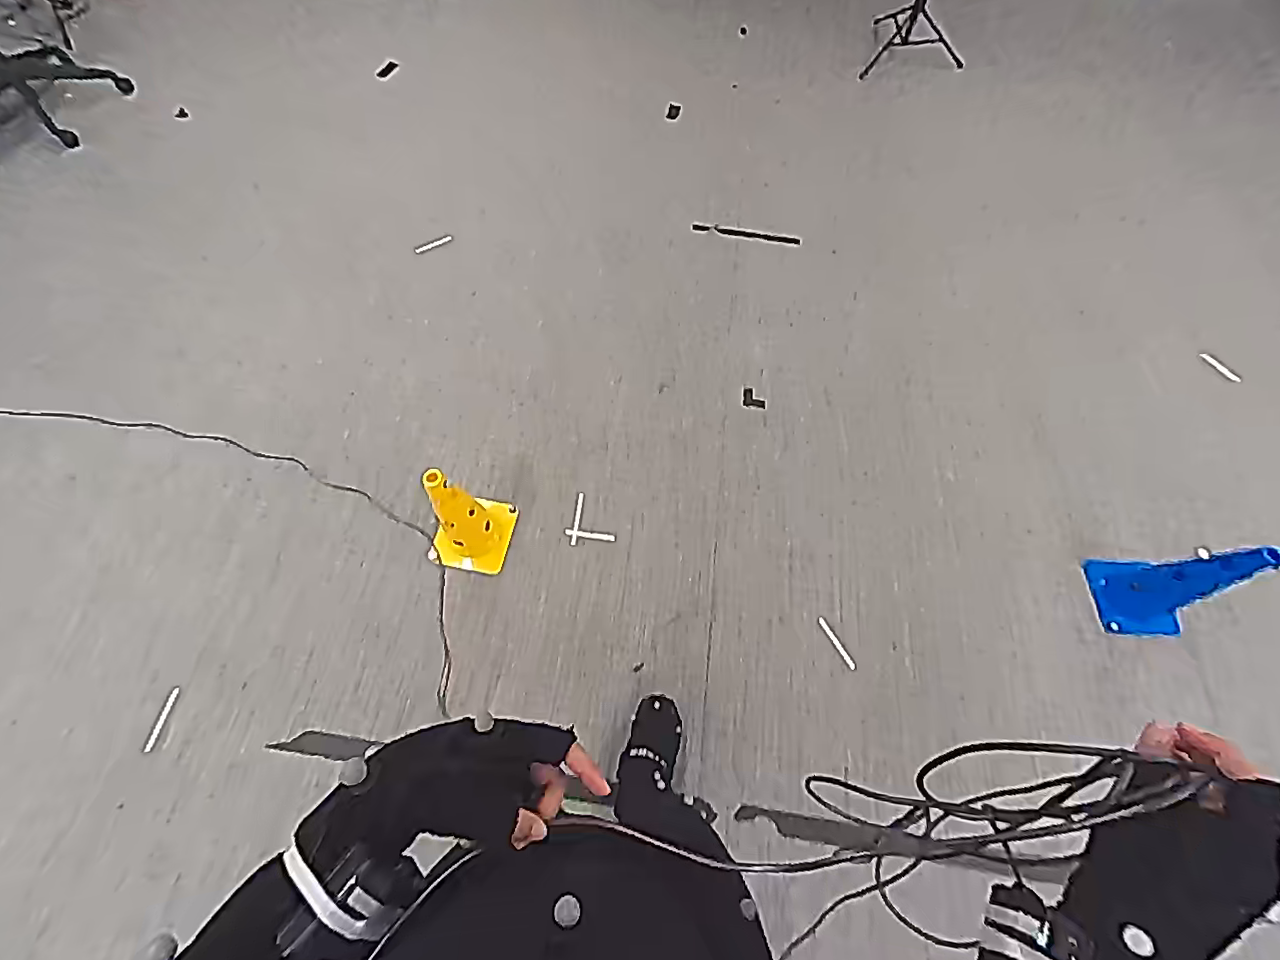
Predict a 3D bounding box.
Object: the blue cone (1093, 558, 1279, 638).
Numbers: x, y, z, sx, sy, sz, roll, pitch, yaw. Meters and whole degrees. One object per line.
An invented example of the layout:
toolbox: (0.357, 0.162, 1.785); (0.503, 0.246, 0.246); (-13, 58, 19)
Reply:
blue cone: (1.303, 0.245, 1.268); (0.193, 0.380, 0.192); (3, 65, 0)
